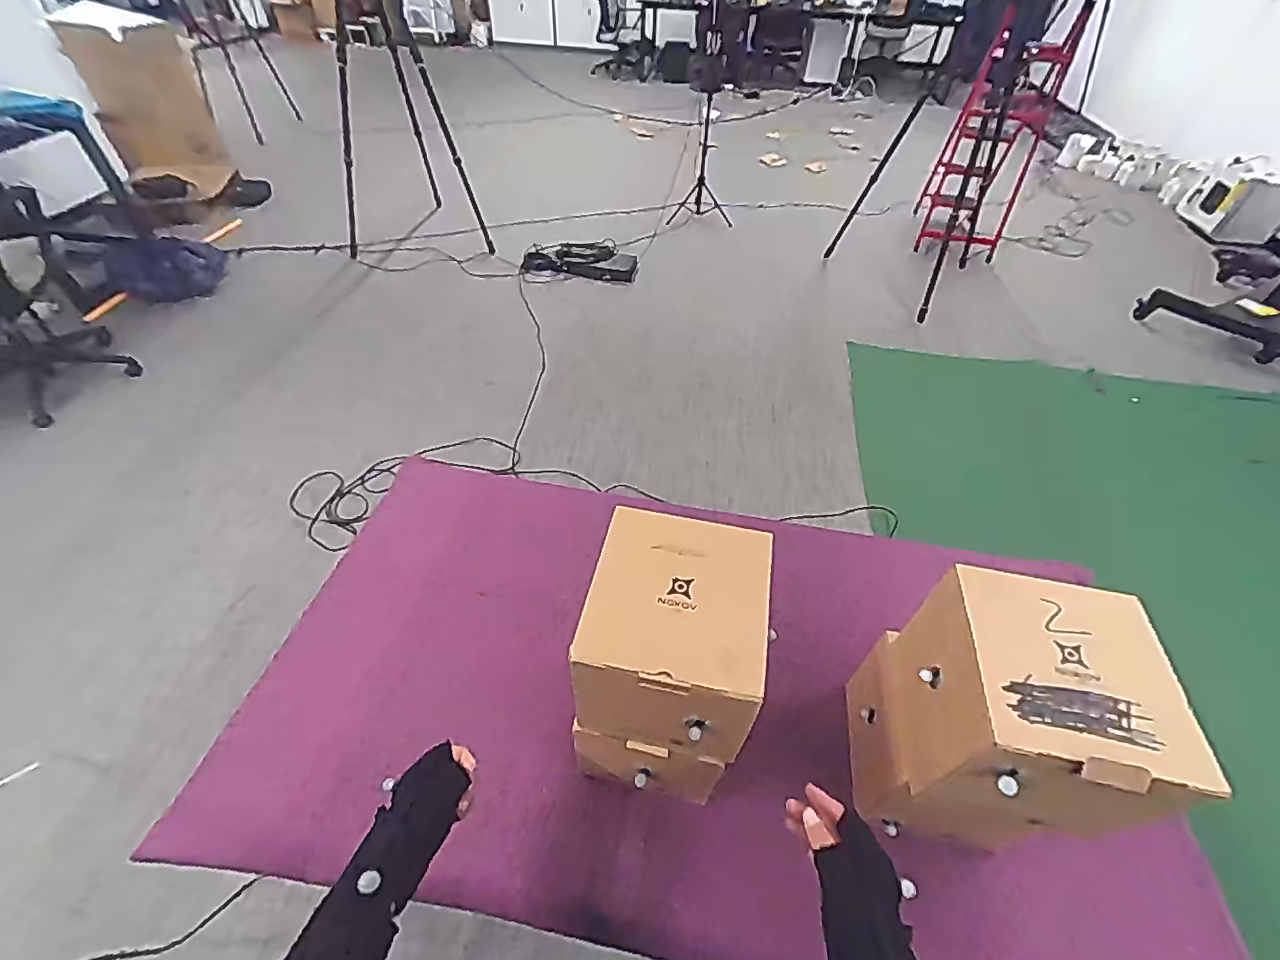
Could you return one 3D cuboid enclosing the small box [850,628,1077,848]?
[{"bbox_3d":[0.361,0.310,0.645,0.168,0.176,0.179,13,49,7],"label":"small box"}]

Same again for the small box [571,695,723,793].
[{"bbox_3d":[0.024,0.264,0.673,0.168,0.176,0.179,11,49,7],"label":"small box"}]

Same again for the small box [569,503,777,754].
[{"bbox_3d":[0.036,0.154,0.553,0.168,0.176,0.179,11,48,7],"label":"small box"}]
